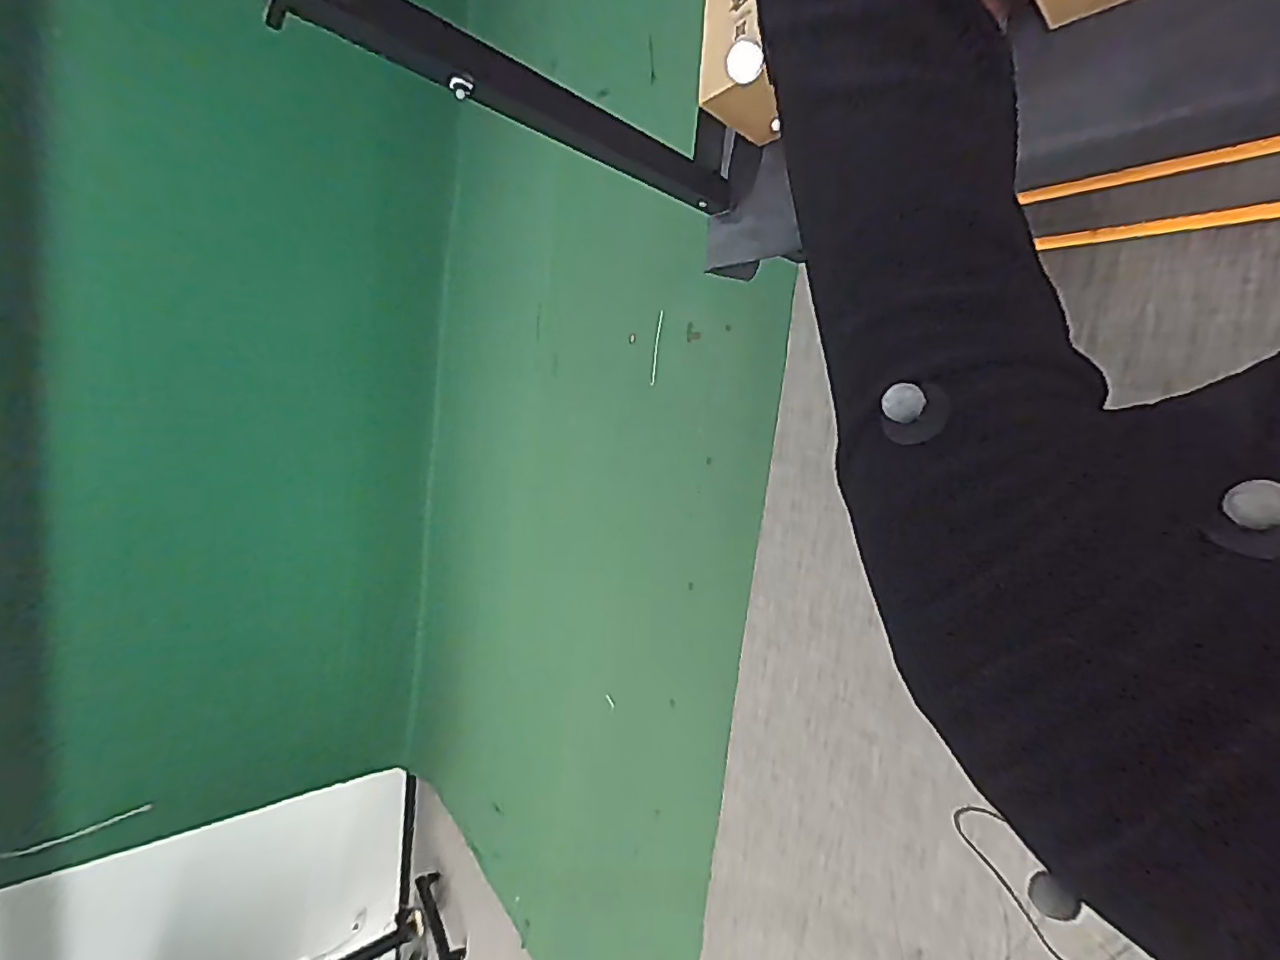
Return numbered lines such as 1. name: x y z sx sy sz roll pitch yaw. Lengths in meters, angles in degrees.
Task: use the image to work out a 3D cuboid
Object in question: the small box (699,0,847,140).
1. small box: 0.218 -0.691 0.866 0.168 0.176 0.179 10 97 49
